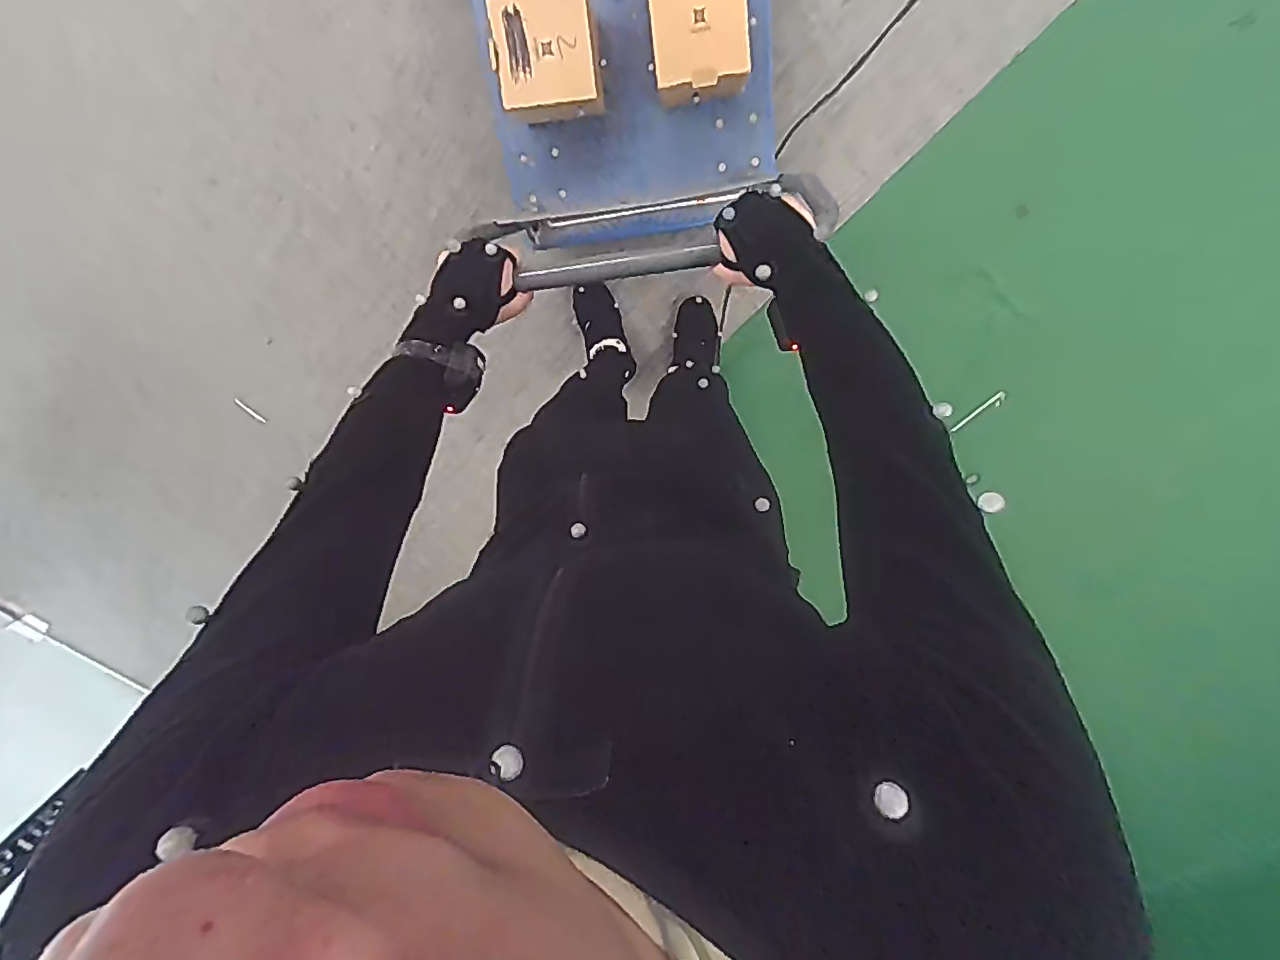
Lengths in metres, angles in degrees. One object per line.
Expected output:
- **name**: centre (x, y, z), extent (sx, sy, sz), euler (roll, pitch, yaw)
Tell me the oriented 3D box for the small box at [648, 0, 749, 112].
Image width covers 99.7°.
- **small box**: centre (0.104, -0.810, 0.998), extent (0.168, 0.176, 0.179), euler (-7, 116, 6)
